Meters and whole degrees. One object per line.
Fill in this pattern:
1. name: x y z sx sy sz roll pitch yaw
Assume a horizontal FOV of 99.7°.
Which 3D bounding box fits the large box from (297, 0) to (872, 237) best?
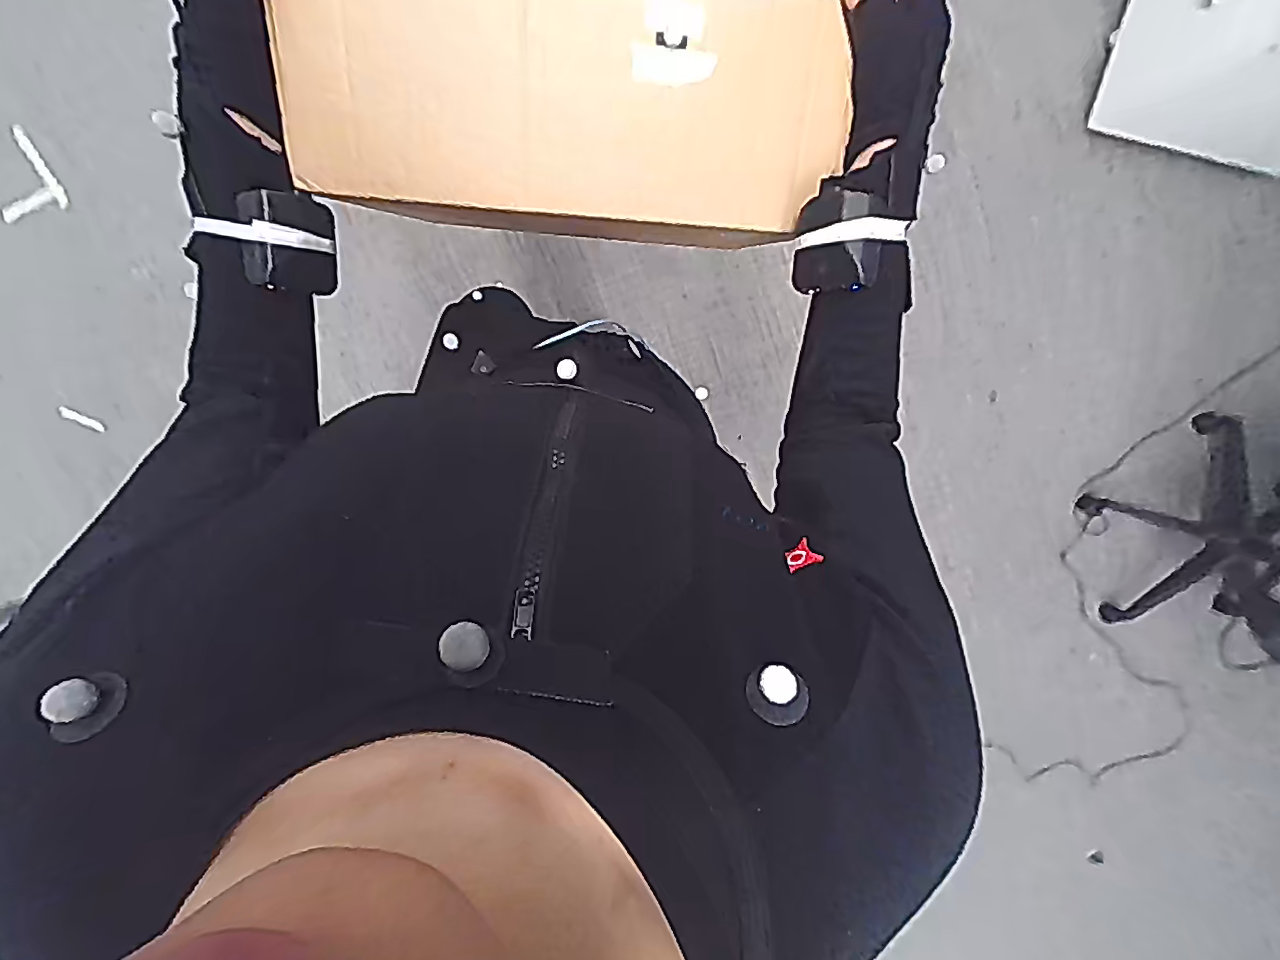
1. large box: -0.042 -0.413 0.501 0.408 0.320 0.320 3 112 -6
